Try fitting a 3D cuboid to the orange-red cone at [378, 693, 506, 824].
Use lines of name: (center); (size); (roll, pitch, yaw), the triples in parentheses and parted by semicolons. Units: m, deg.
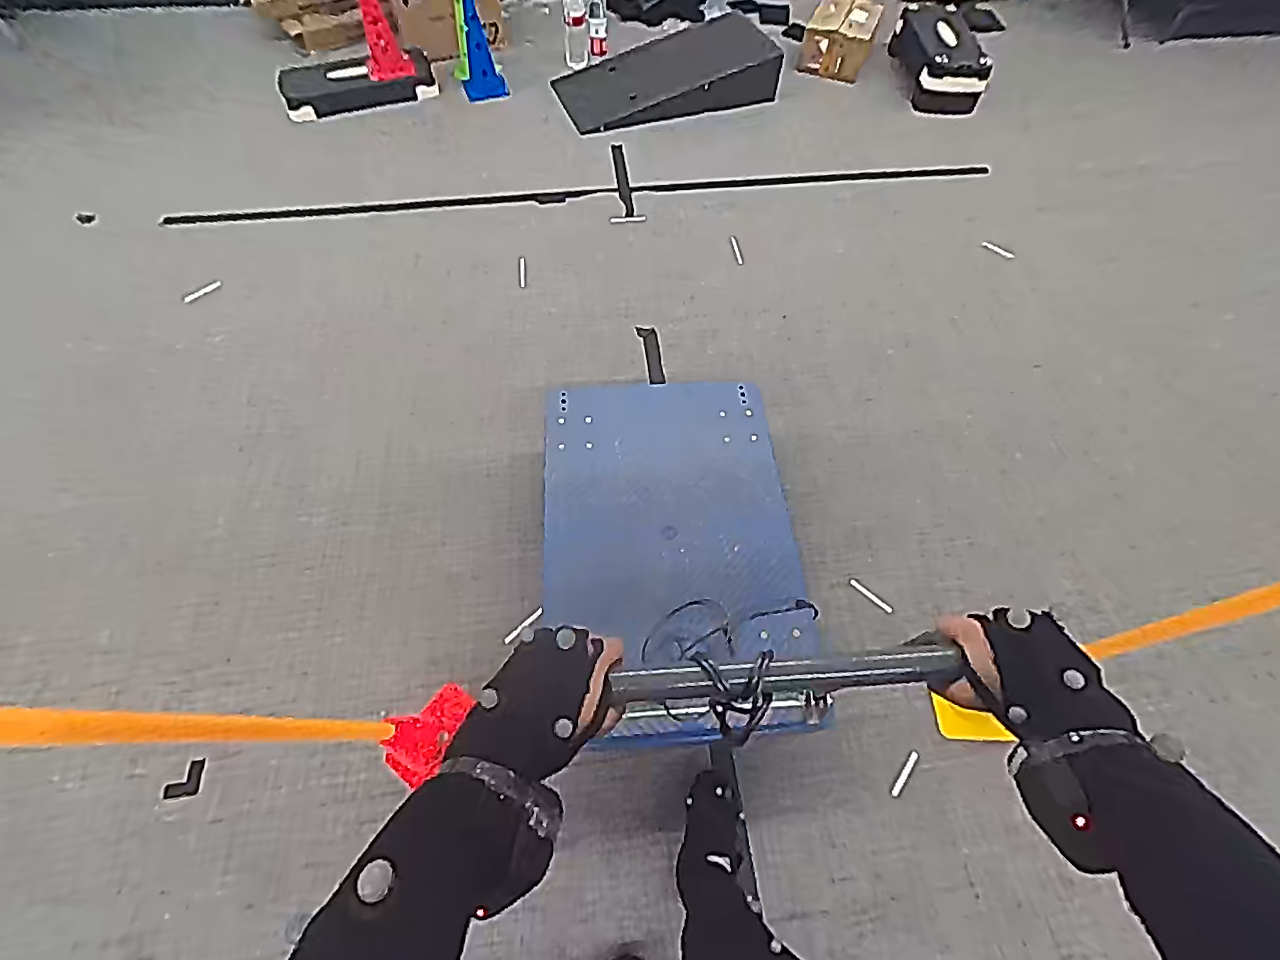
orange-red cone: (-0.404, 0.496, 1.004); (0.198, 0.360, 0.199); (35, 63, 17)
